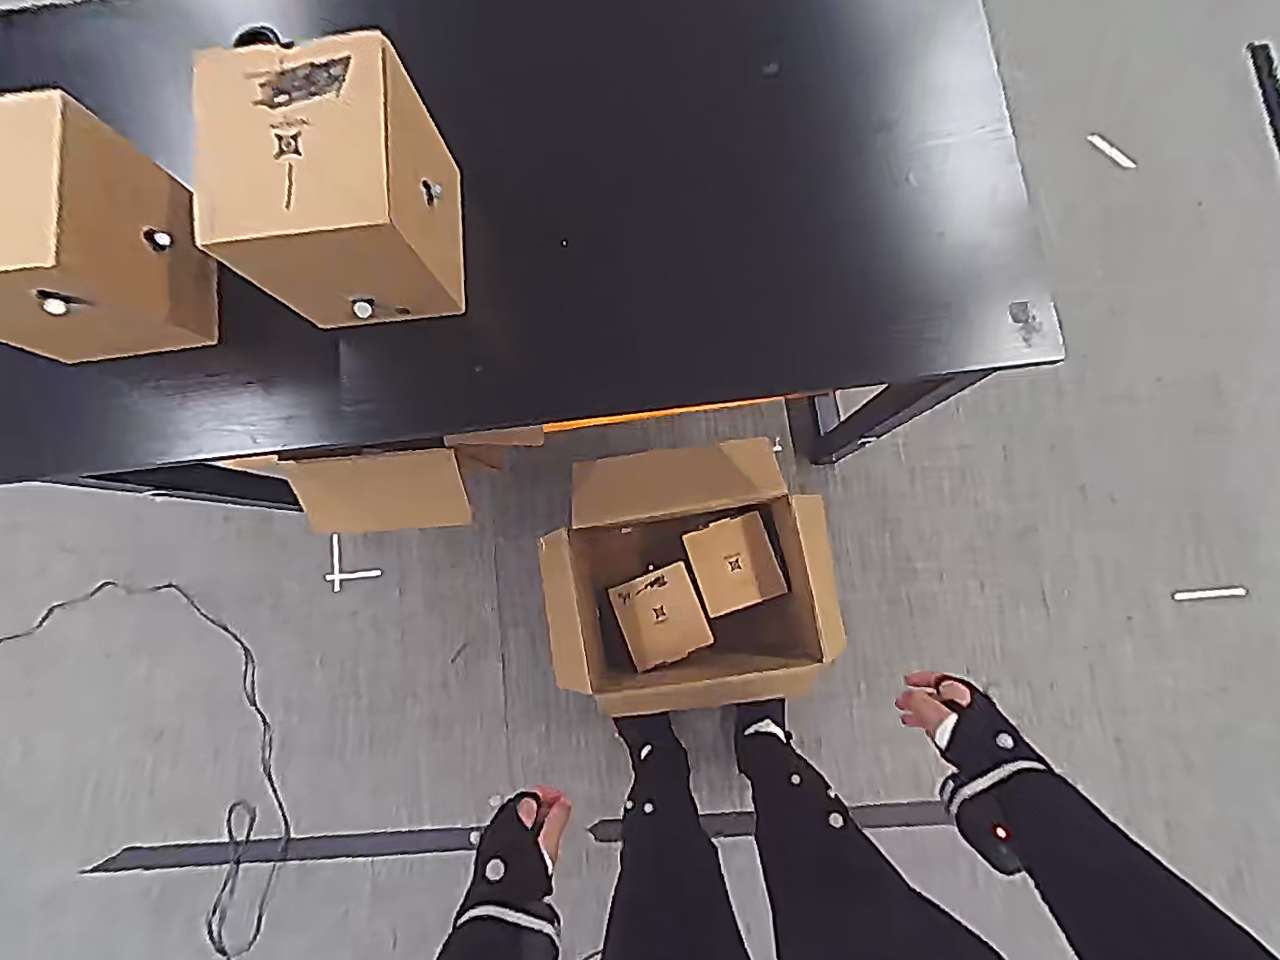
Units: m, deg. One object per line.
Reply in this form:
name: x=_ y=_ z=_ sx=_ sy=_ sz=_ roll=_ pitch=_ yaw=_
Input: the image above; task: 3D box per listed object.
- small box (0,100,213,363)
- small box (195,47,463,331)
small box: x=-0.567 y=-0.229 z=0.537 sx=0.179 sy=0.176 sz=0.168 roll=-7 pitch=81 yaw=1
small box: x=-0.285 y=-0.268 z=0.532 sx=0.168 sy=0.176 sz=0.179 roll=-5 pitch=82 yaw=2
